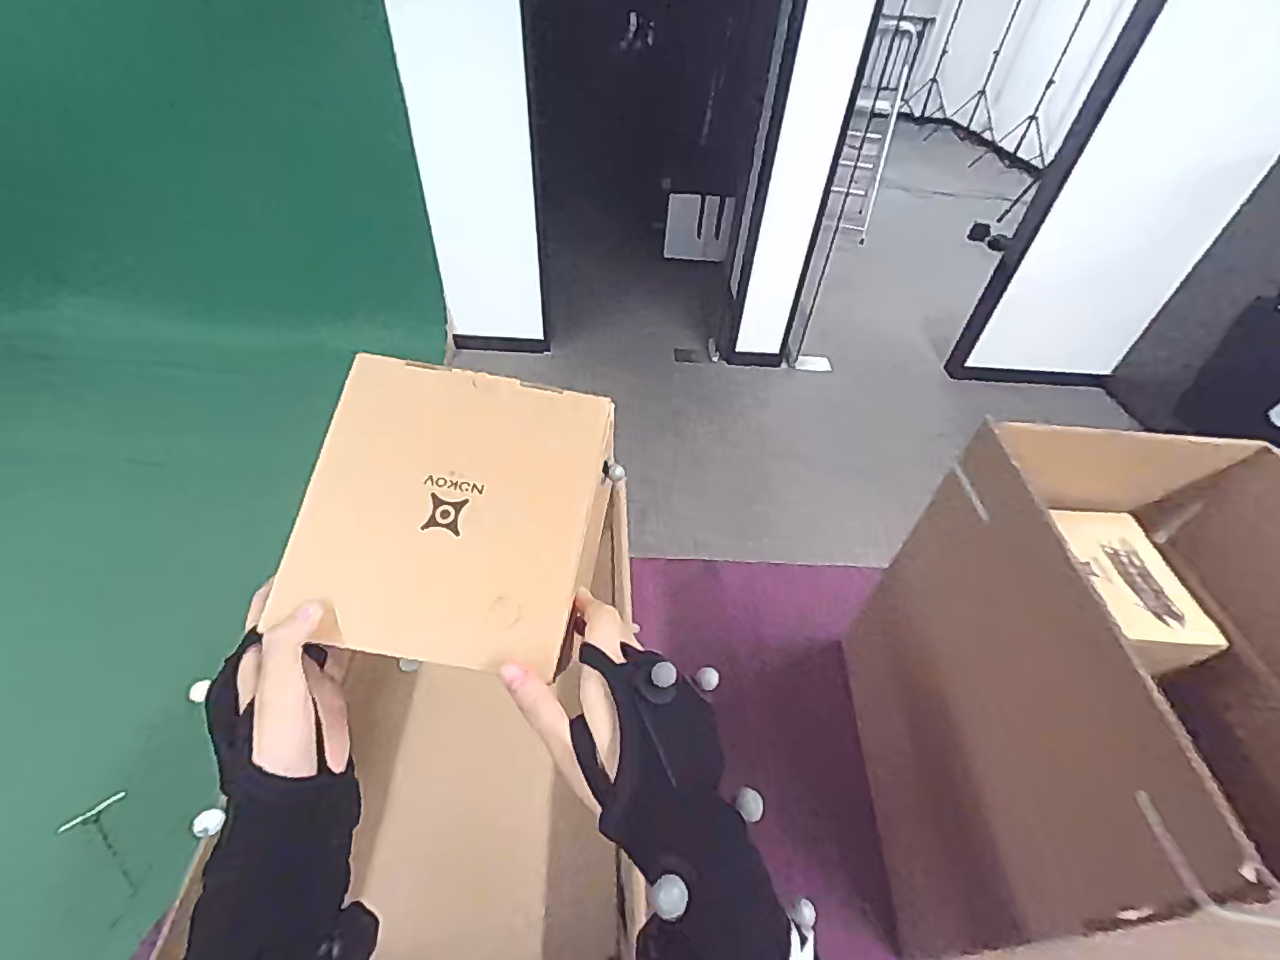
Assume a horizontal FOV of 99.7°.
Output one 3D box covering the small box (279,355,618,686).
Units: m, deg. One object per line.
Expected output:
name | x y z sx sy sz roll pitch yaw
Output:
small box | -0.109 0.037 0.396 0.168 0.176 0.179 10 75 0
